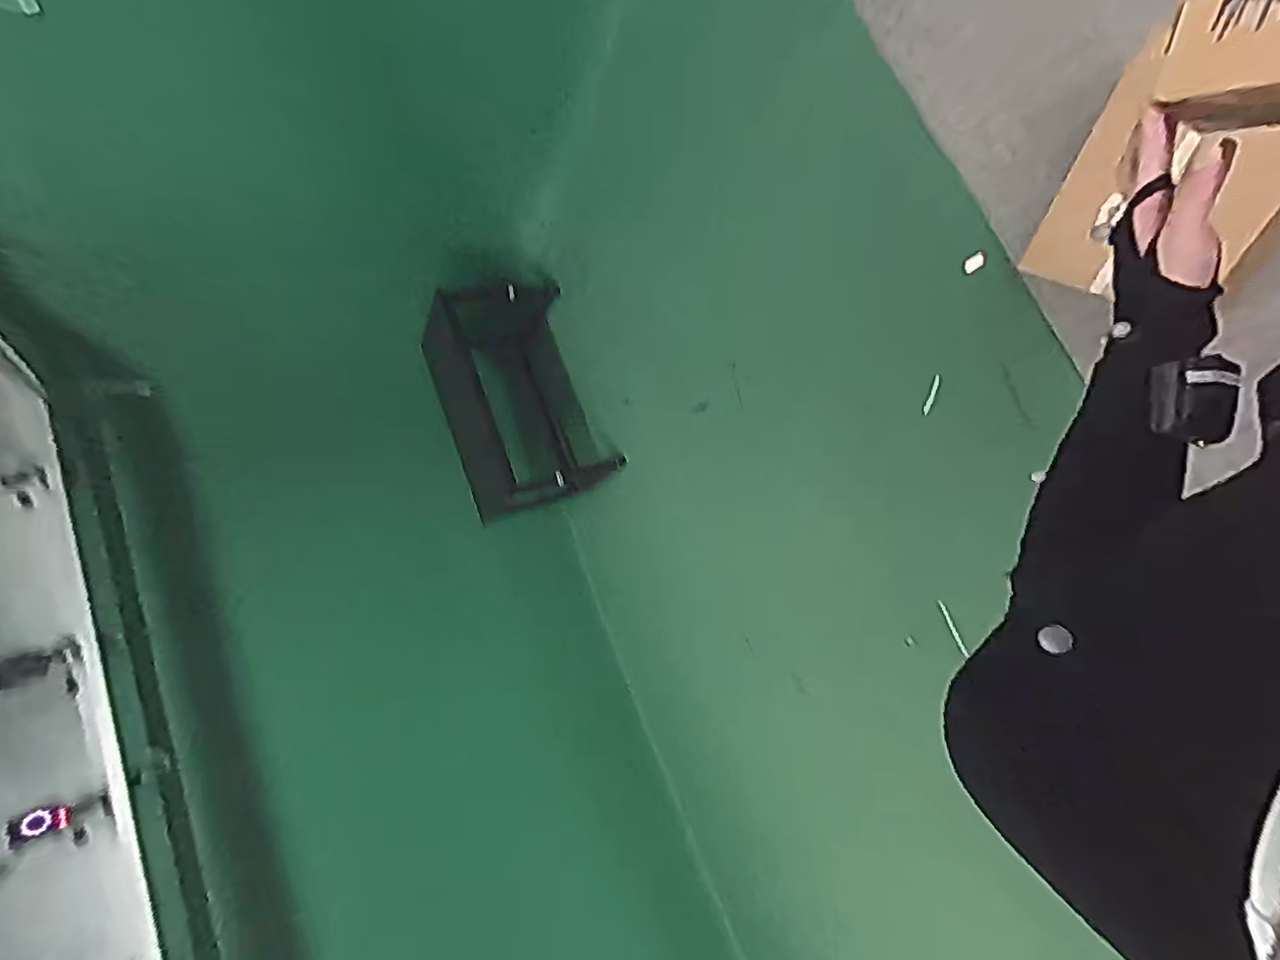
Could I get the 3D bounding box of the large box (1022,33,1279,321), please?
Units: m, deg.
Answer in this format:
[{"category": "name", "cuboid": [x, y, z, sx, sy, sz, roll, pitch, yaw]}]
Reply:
[{"category": "large box", "cuboid": [1.038, -0.559, 1.018, 0.320, 0.320, 0.408, 44, 138, 38]}]
